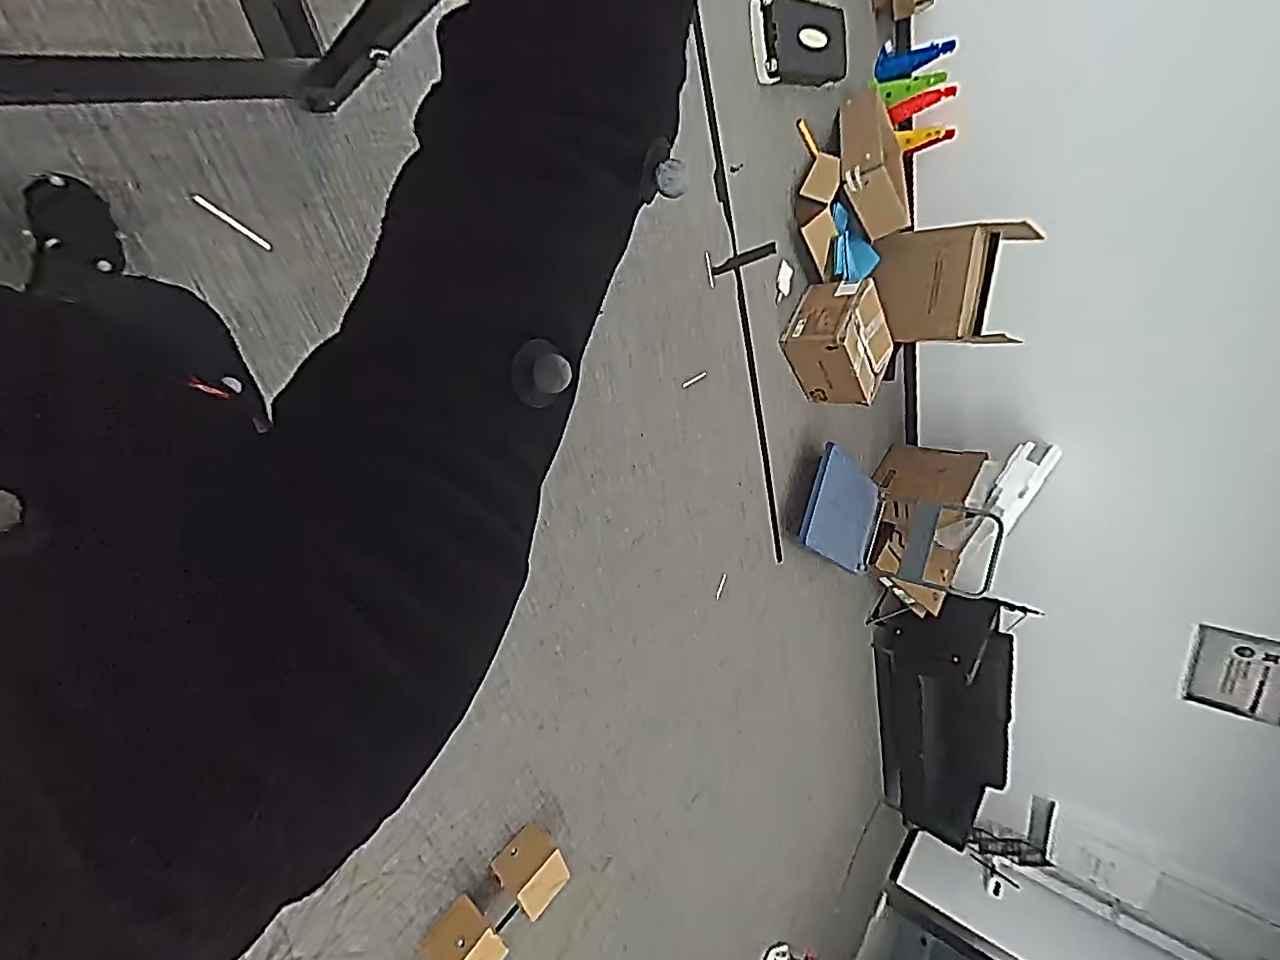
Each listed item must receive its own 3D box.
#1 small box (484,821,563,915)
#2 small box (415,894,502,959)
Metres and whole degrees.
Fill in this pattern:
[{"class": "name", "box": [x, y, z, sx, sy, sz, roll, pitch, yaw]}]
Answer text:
[{"class": "small box", "box": [-0.394, 1.329, 1.844, 0.179, 0.176, 0.168, -35, 122, -37]}, {"class": "small box", "box": [-0.572, 1.459, 1.686, 0.179, 0.176, 0.168, -40, 125, -35]}]
